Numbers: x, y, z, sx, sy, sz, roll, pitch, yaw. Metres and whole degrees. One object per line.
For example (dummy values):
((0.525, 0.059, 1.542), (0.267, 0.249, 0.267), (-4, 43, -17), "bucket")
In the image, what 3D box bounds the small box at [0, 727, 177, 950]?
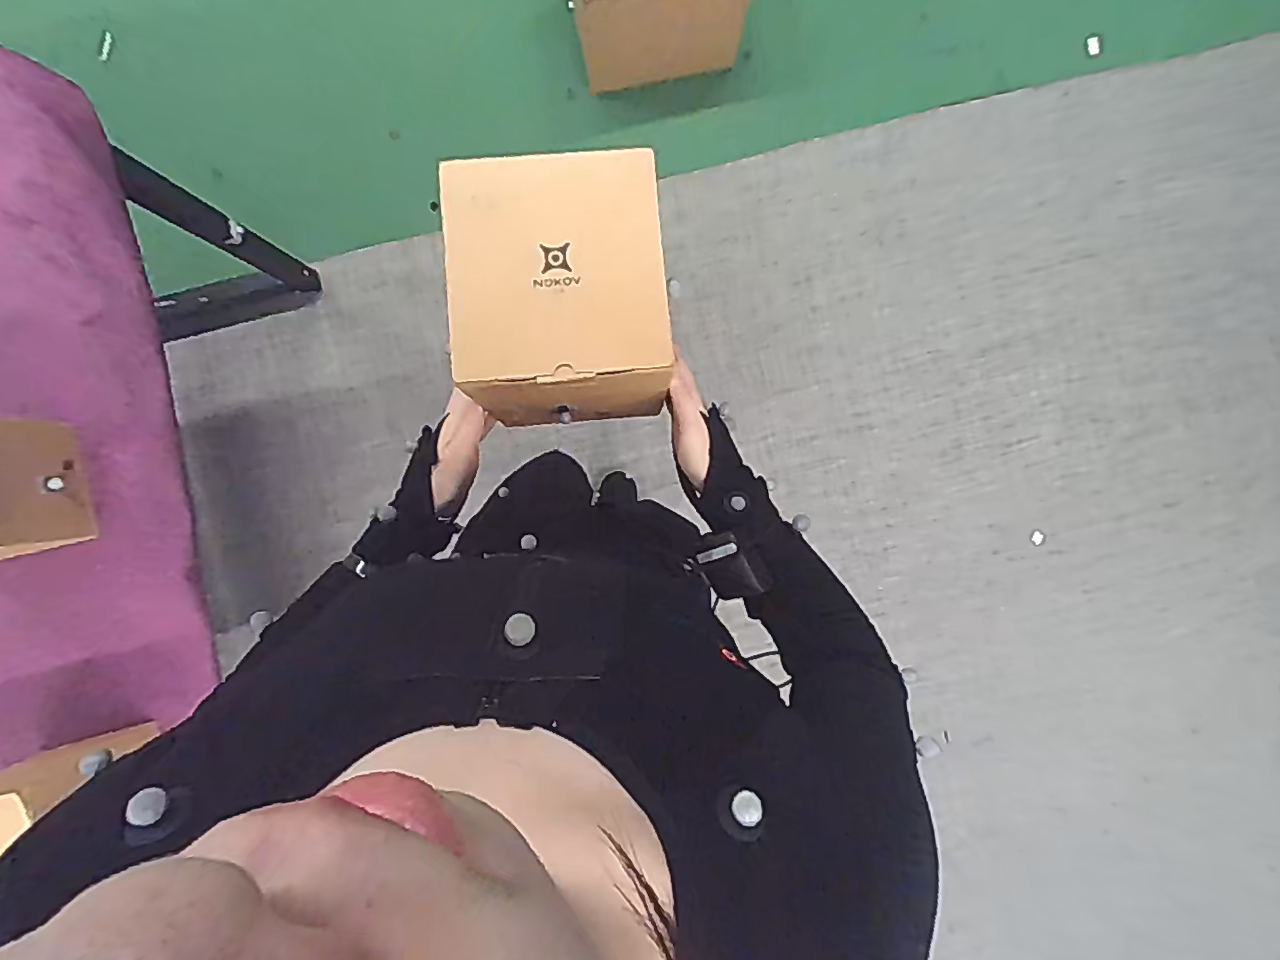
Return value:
((-0.744, 0.439, 0.671), (0.179, 0.176, 0.168), (-15, 91, 0), "small box")

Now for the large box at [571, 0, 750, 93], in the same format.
((0.035, -1.234, 1.323), (0.408, 0.320, 0.320), (-12, 91, -2), "large box")

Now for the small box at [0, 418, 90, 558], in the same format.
((-0.857, 0.020, 0.666), (0.179, 0.176, 0.168), (-13, 91, -1), "small box")

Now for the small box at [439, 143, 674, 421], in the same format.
((-0.066, -0.157, 0.477), (0.168, 0.176, 0.179), (-5, 86, -3), "small box")
